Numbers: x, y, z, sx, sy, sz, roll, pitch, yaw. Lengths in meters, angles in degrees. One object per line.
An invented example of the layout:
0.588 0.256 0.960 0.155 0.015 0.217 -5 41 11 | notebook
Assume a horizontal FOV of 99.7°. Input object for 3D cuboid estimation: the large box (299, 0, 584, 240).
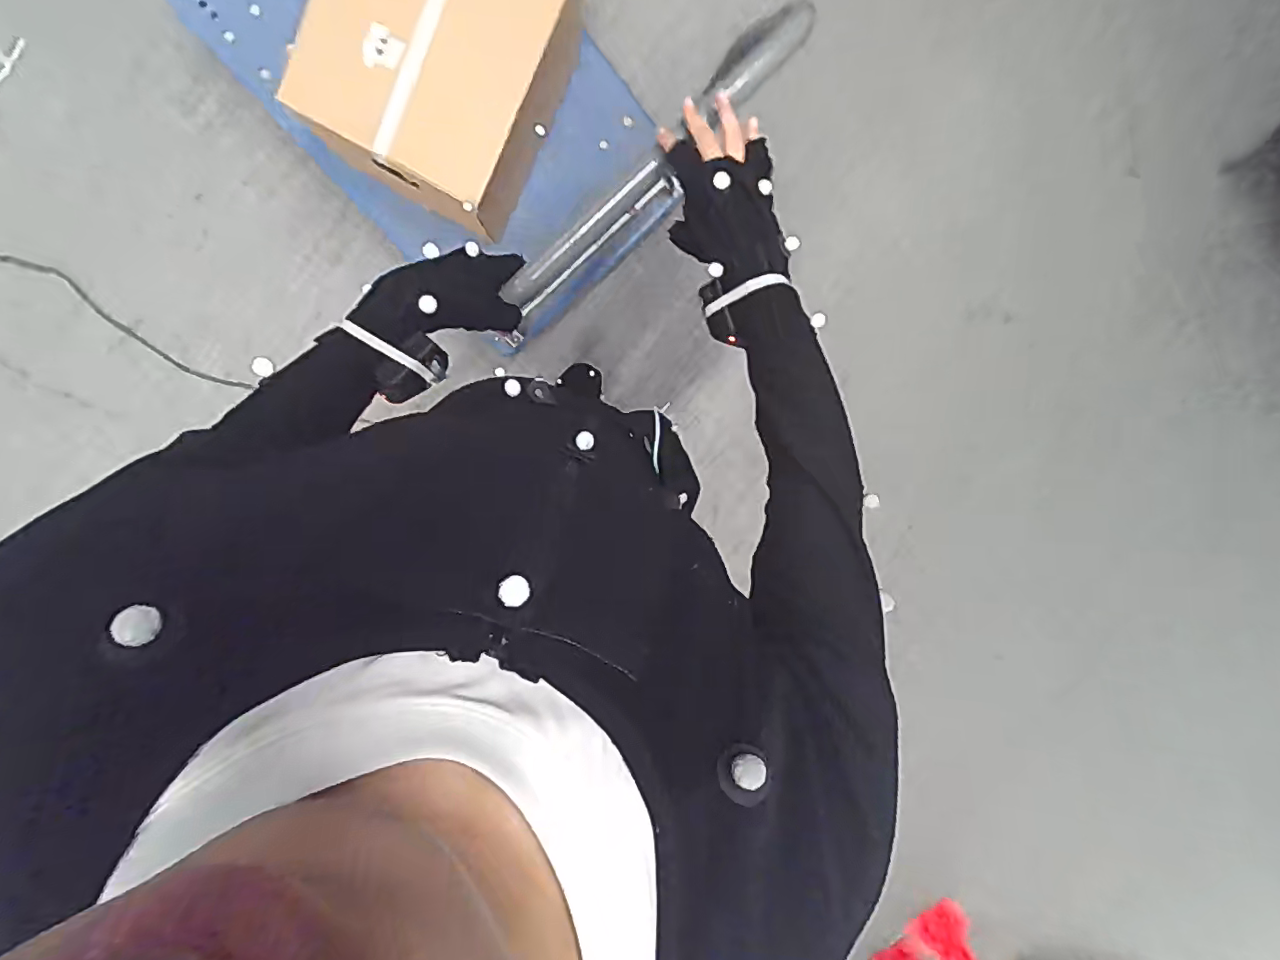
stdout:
-0.316 -0.712 0.958 0.320 0.320 0.408 25 99 -12 | large box
